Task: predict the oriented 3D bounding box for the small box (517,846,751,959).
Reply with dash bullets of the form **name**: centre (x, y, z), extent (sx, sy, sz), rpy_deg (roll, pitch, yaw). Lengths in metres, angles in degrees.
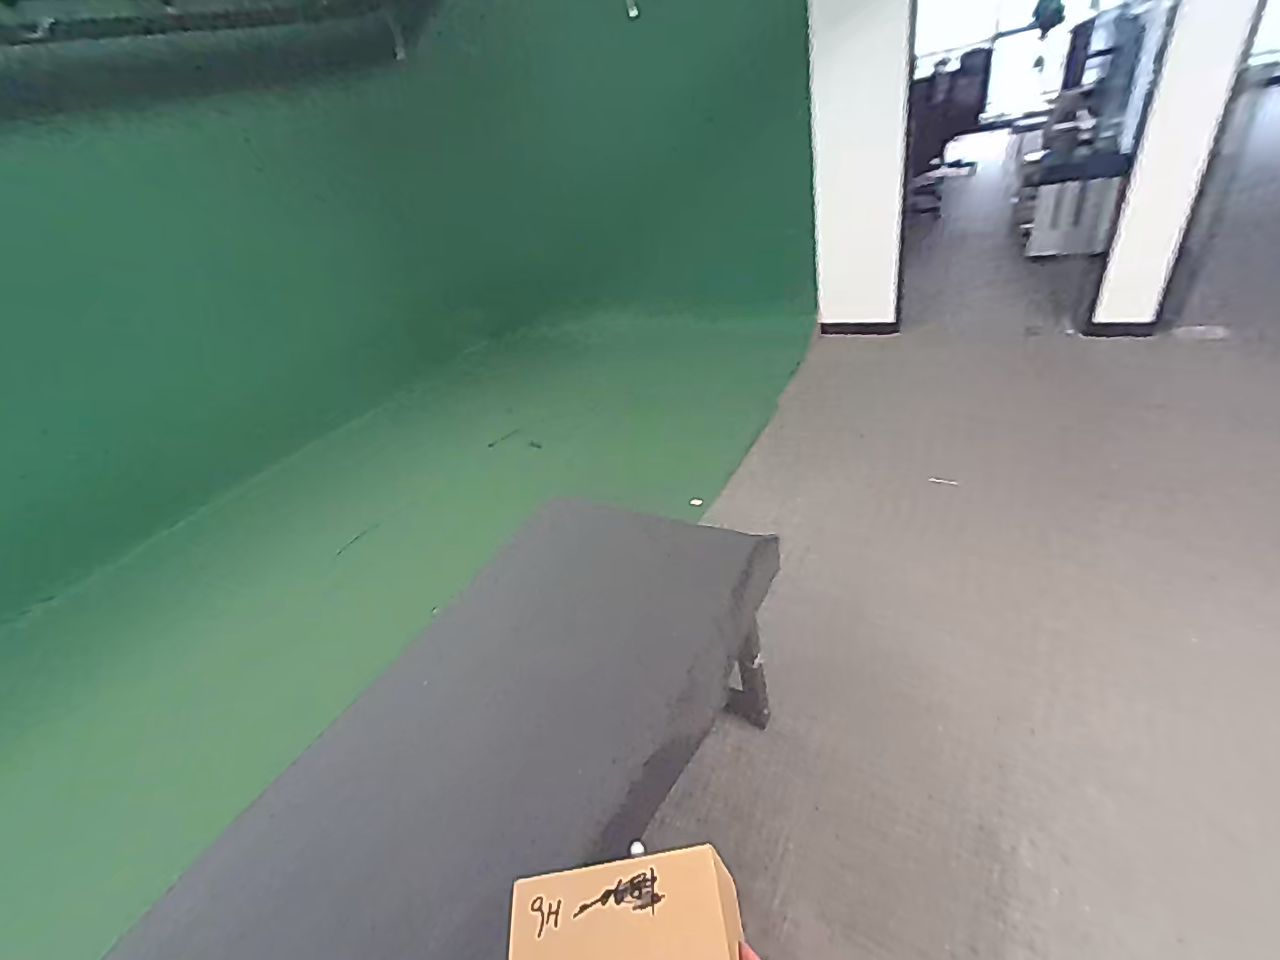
- **small box**: centre (0.008, 0.416, 0.426), extent (0.168, 0.176, 0.179), rpy_deg (-12, 45, 4)
